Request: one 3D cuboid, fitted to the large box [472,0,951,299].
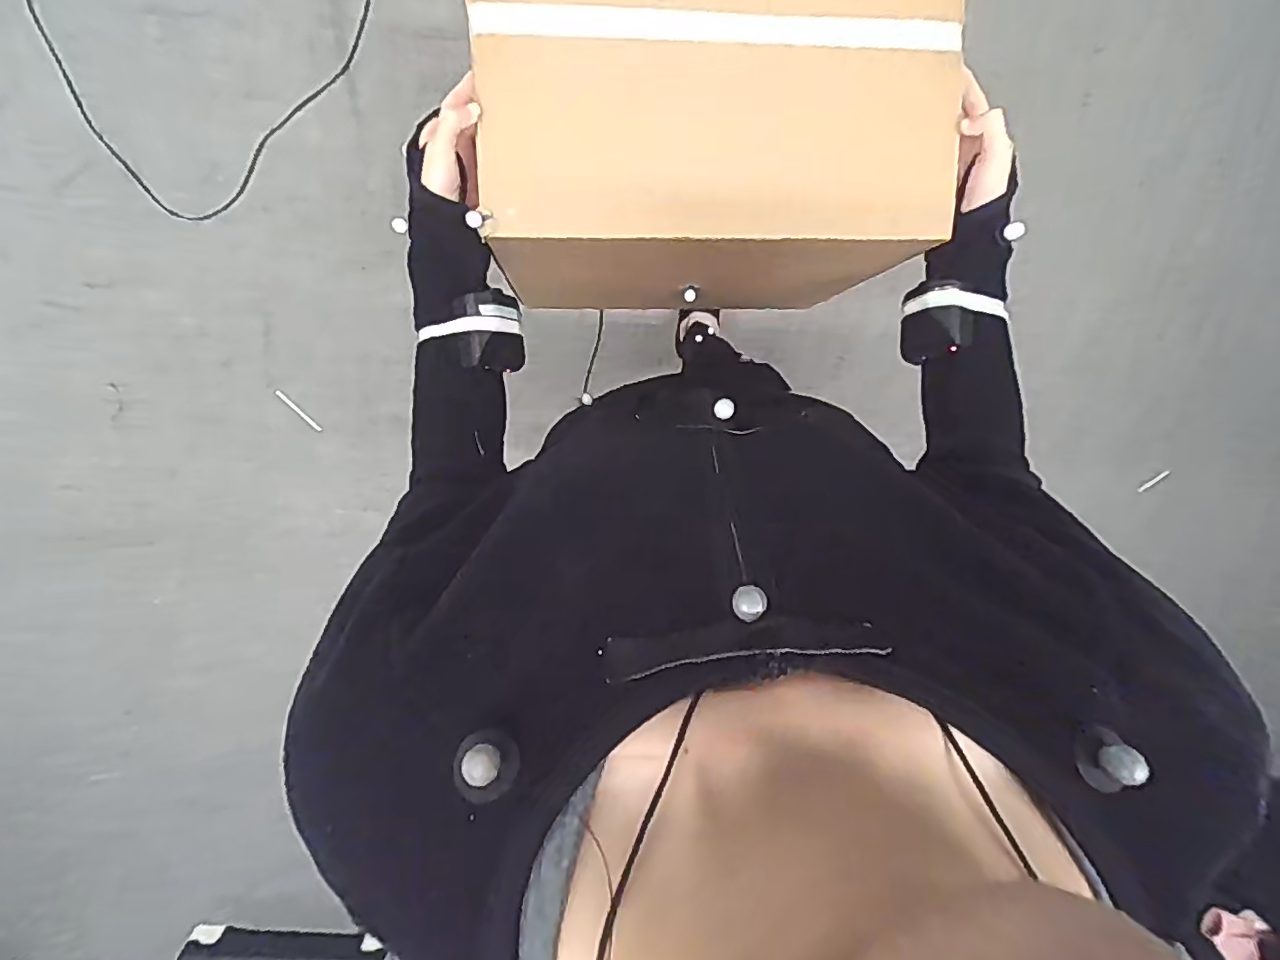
[{"bbox_3d":[0.054,-0.386,0.593,0.408,0.320,0.320,-2,97,-5],"label":"large box"}]
